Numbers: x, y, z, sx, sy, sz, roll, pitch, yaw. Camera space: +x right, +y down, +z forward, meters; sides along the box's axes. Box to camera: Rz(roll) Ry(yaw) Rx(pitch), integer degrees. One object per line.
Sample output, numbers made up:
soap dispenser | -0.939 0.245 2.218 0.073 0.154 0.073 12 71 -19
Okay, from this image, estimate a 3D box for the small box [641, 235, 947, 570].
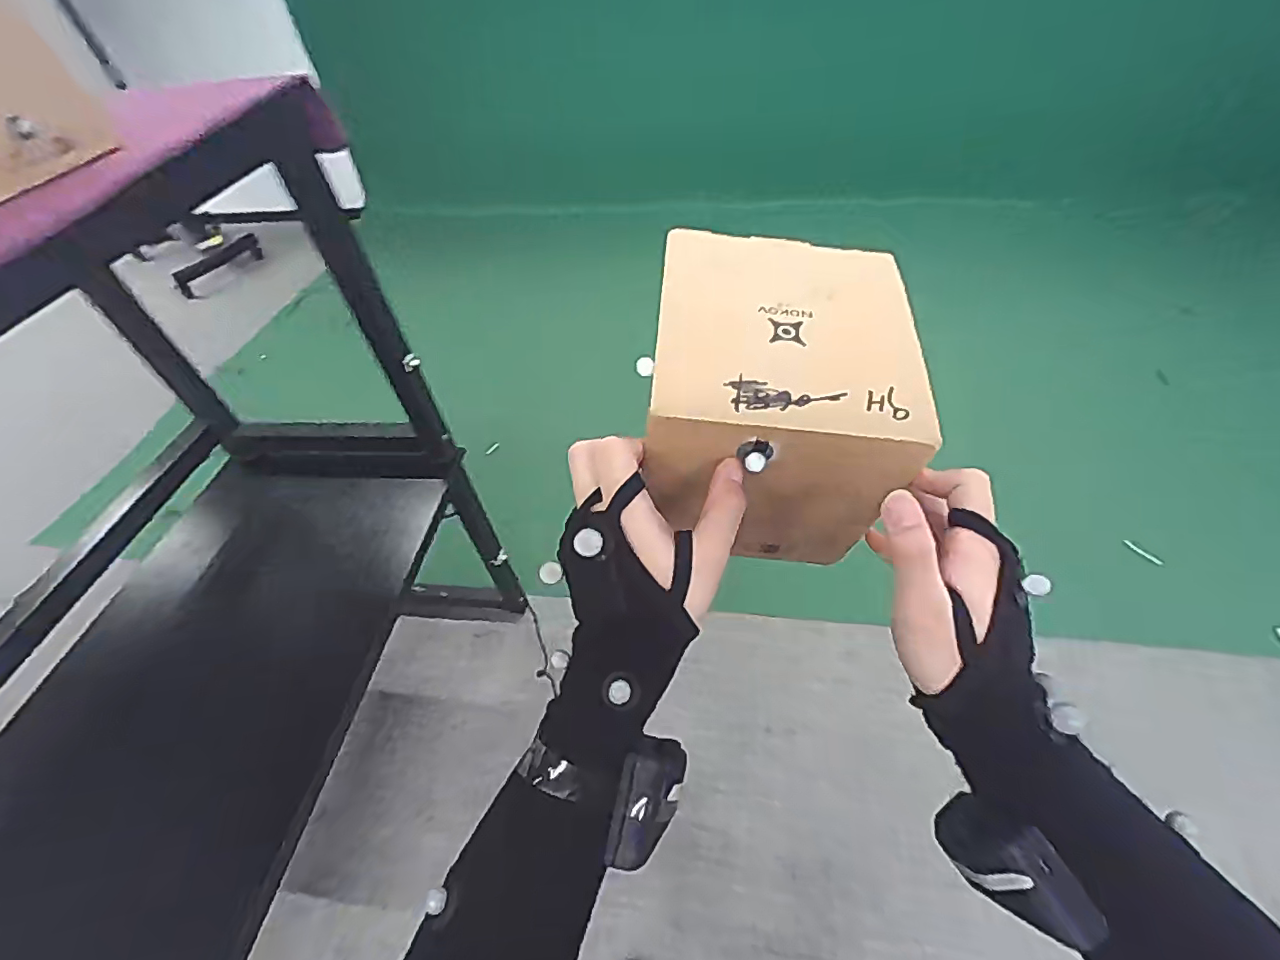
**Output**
small box | 0.092 -0.053 0.412 0.168 0.176 0.179 6 55 0
